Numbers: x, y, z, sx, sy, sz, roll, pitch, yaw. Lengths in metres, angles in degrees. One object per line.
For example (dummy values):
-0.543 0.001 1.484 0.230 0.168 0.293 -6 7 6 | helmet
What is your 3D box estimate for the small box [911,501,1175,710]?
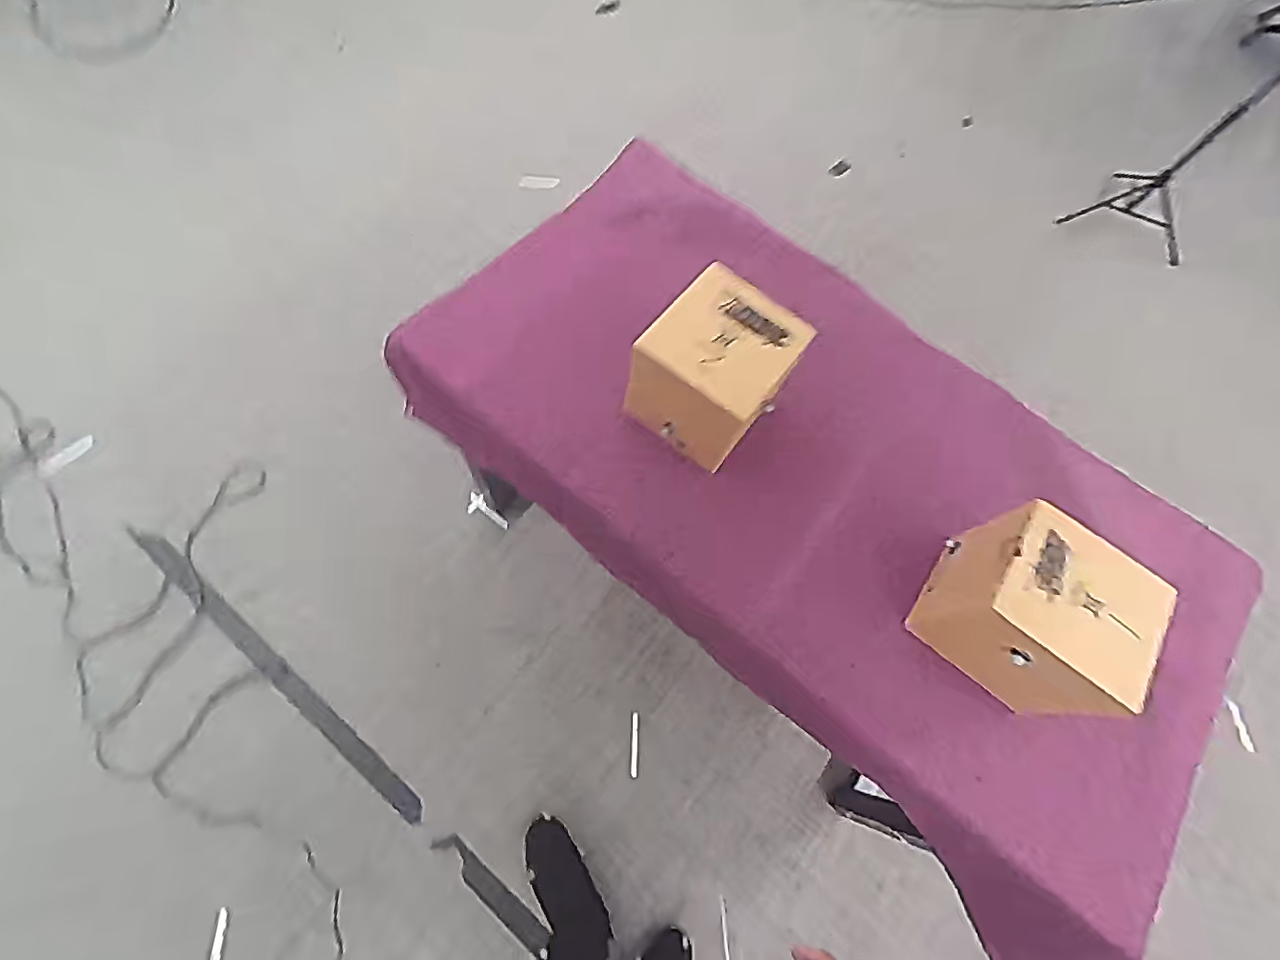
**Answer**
0.478 0.162 0.666 0.179 0.176 0.168 38 69 9 | small box
